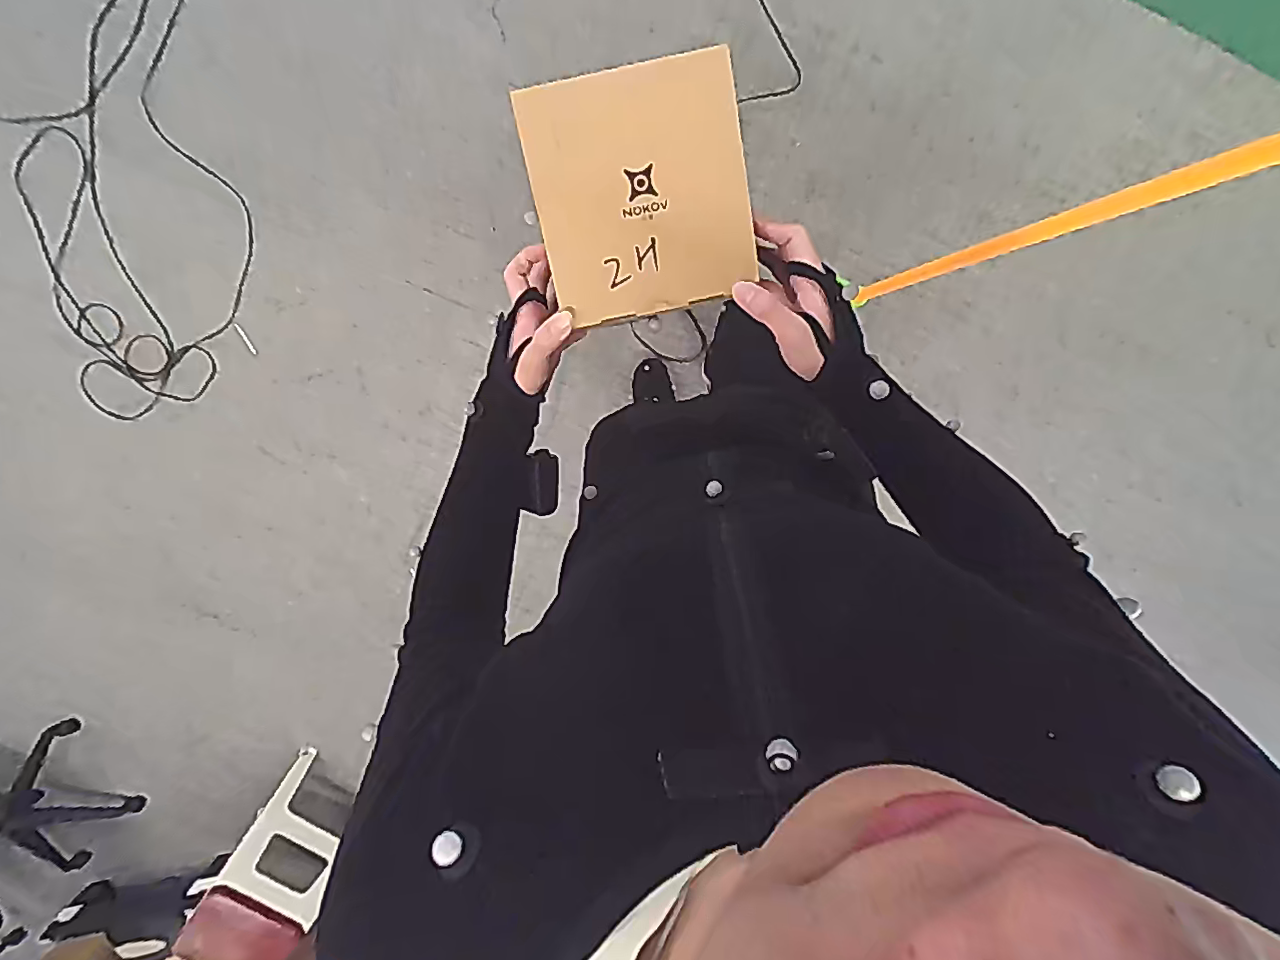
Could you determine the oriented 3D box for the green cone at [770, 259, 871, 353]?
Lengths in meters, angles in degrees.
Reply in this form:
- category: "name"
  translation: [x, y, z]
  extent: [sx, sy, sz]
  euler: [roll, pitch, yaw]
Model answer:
- category: "green cone"
  translation: [0.478, -0.435, 1.309]
  extent: [0.202, 0.368, 0.200]
  euler: [24, 102, -4]
